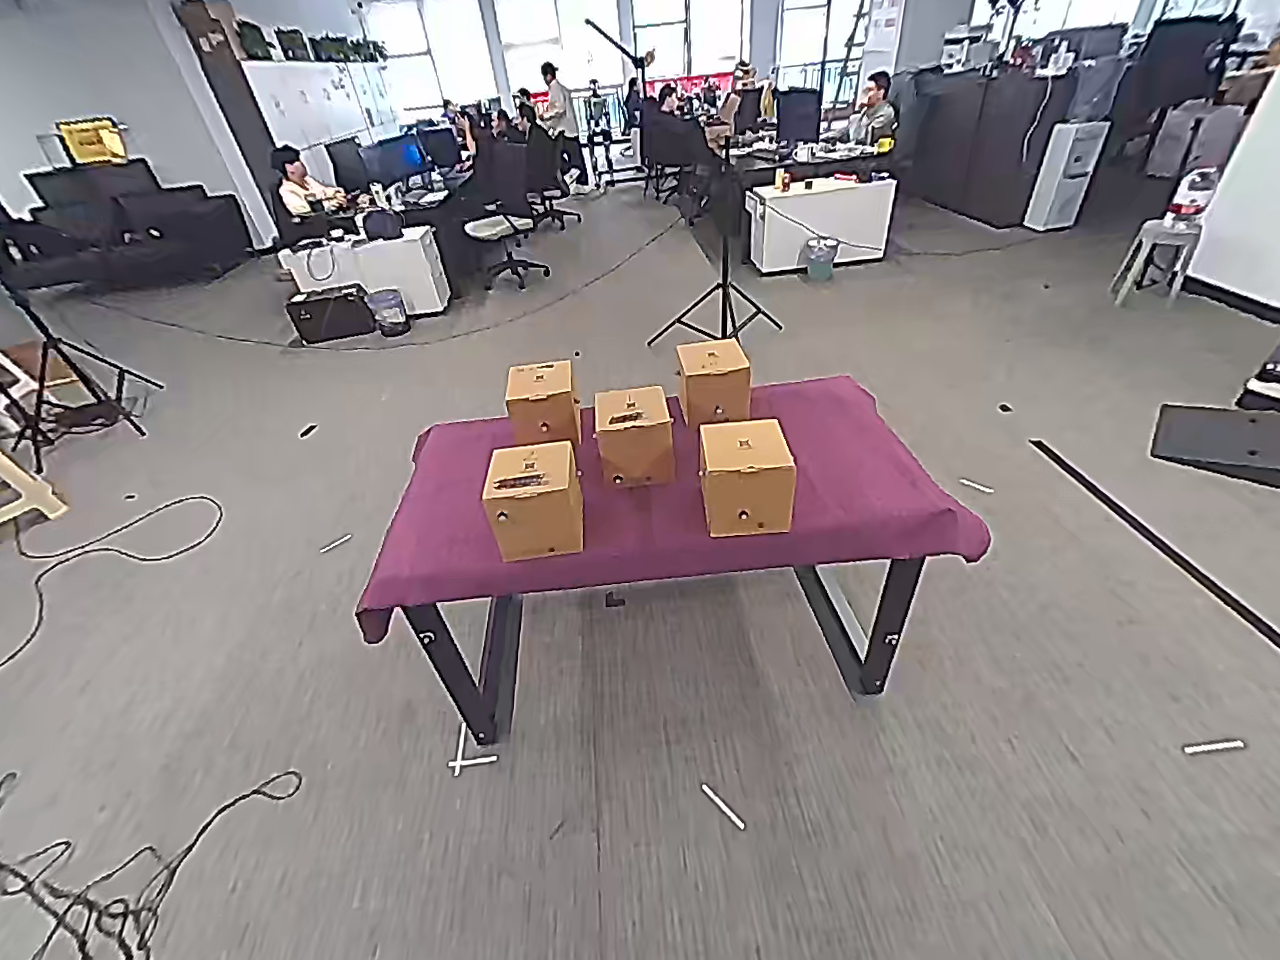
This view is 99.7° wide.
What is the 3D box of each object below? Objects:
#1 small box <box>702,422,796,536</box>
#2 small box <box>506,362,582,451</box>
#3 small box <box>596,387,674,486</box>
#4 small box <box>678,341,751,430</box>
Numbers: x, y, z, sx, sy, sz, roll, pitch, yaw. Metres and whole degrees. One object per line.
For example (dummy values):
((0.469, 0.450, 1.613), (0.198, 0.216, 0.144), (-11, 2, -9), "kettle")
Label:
((0.219, -0.003, 1.131), (0.168, 0.176, 0.179), (-4, 37, 3), "small box")
((-0.248, -0.189, 1.437), (0.168, 0.176, 0.179), (-7, 40, -2), "small box")
((-0.012, -0.099, 1.289), (0.168, 0.176, 0.179), (-7, 37, 0), "small box")
((0.195, -0.254, 1.454), (0.168, 0.176, 0.179), (-8, 39, 0), "small box")
